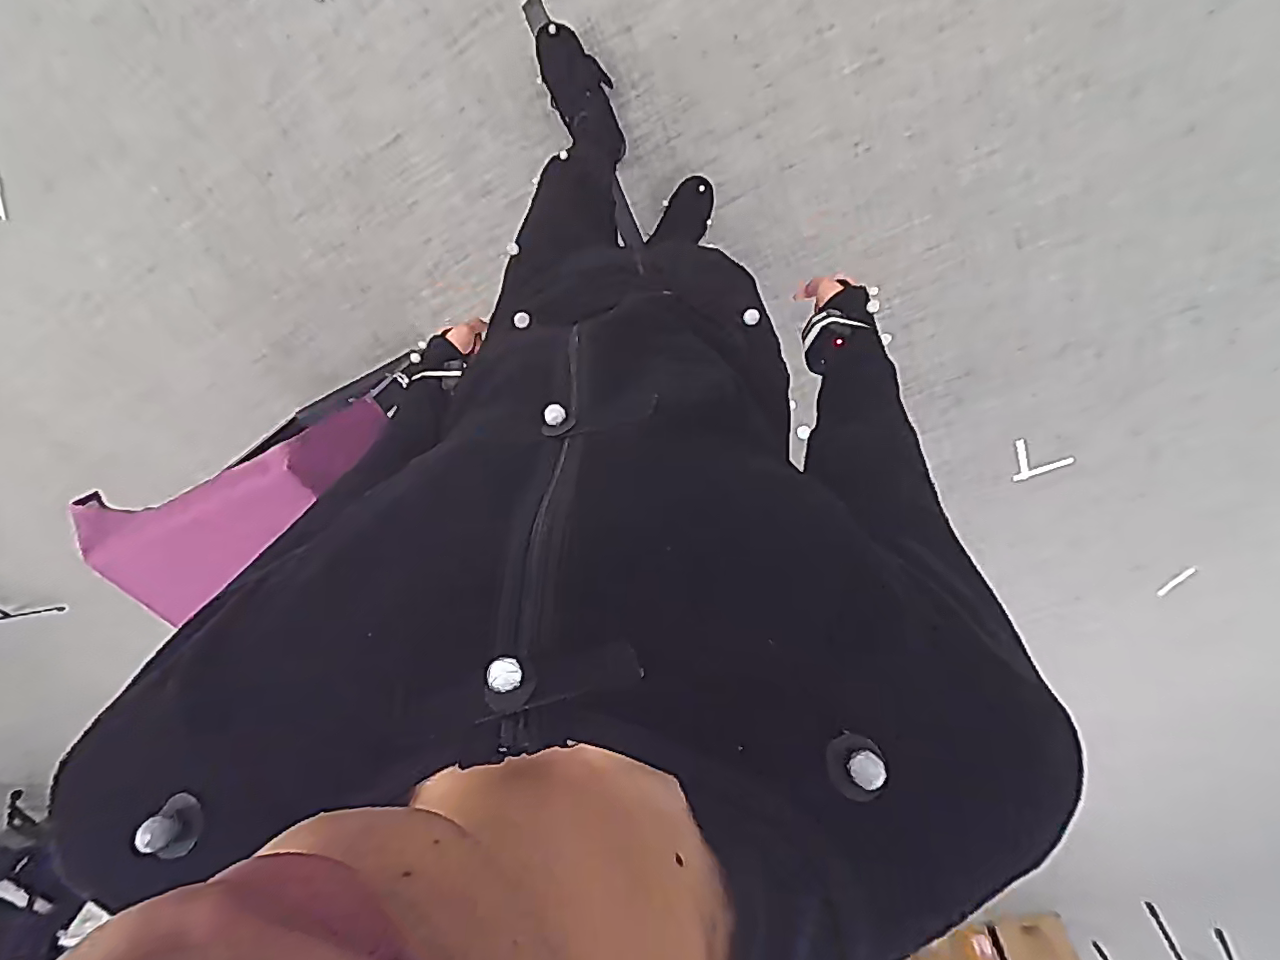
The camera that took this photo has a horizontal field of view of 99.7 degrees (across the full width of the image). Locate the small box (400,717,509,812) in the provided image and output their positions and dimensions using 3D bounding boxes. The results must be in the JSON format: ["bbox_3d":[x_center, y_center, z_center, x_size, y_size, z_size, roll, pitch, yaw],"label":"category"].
[{"bbox_3d":[-0.466,0.745,1.389,0.168,0.176,0.179,-30,116,21],"label":"small box"}]
